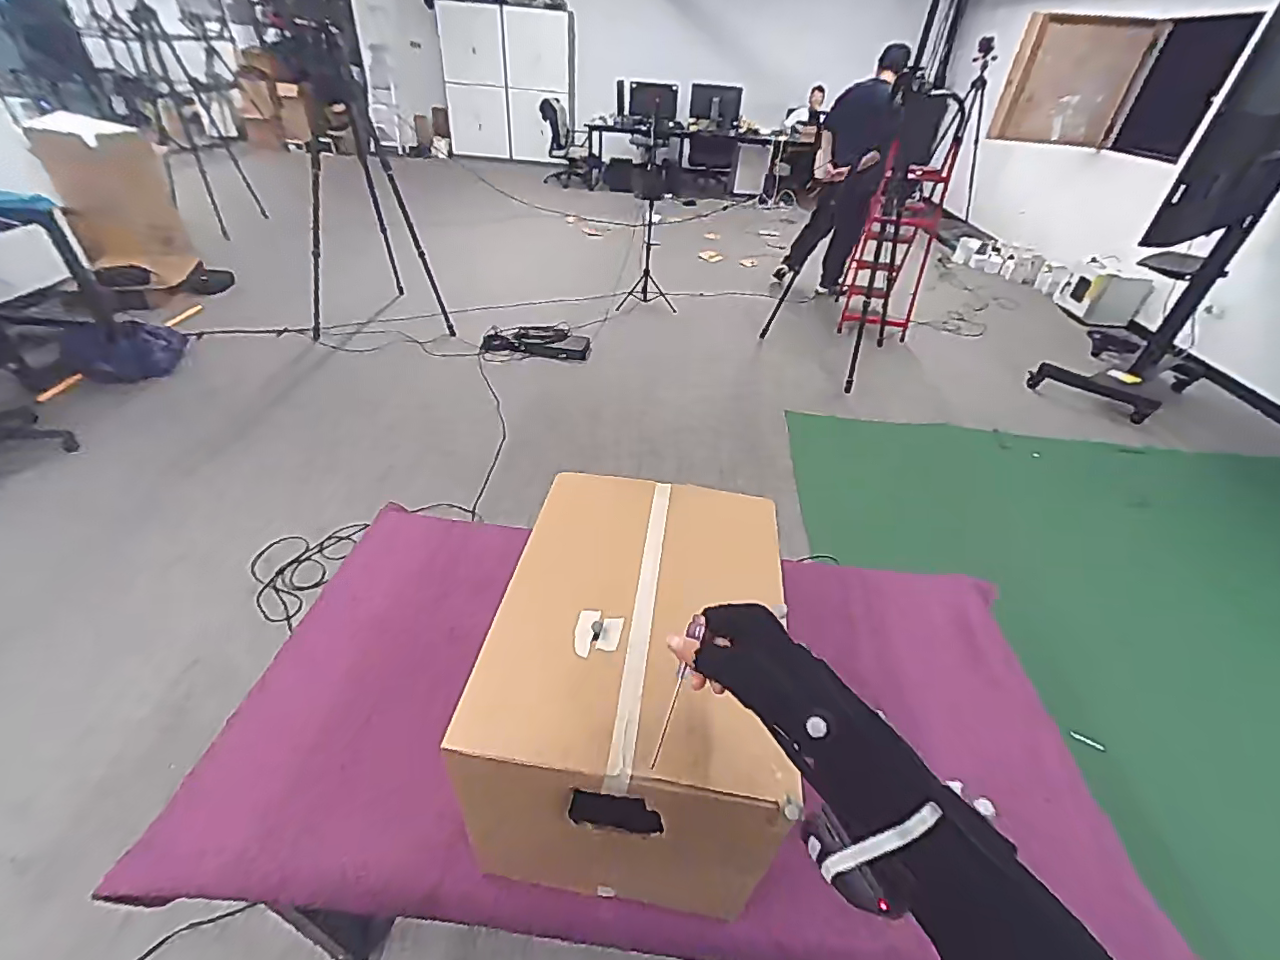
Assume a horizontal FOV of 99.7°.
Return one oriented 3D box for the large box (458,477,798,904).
[{"bbox_3d":[-0.003,0.254,0.719,0.320,0.320,0.408,8,39,4],"label":"large box"}]
